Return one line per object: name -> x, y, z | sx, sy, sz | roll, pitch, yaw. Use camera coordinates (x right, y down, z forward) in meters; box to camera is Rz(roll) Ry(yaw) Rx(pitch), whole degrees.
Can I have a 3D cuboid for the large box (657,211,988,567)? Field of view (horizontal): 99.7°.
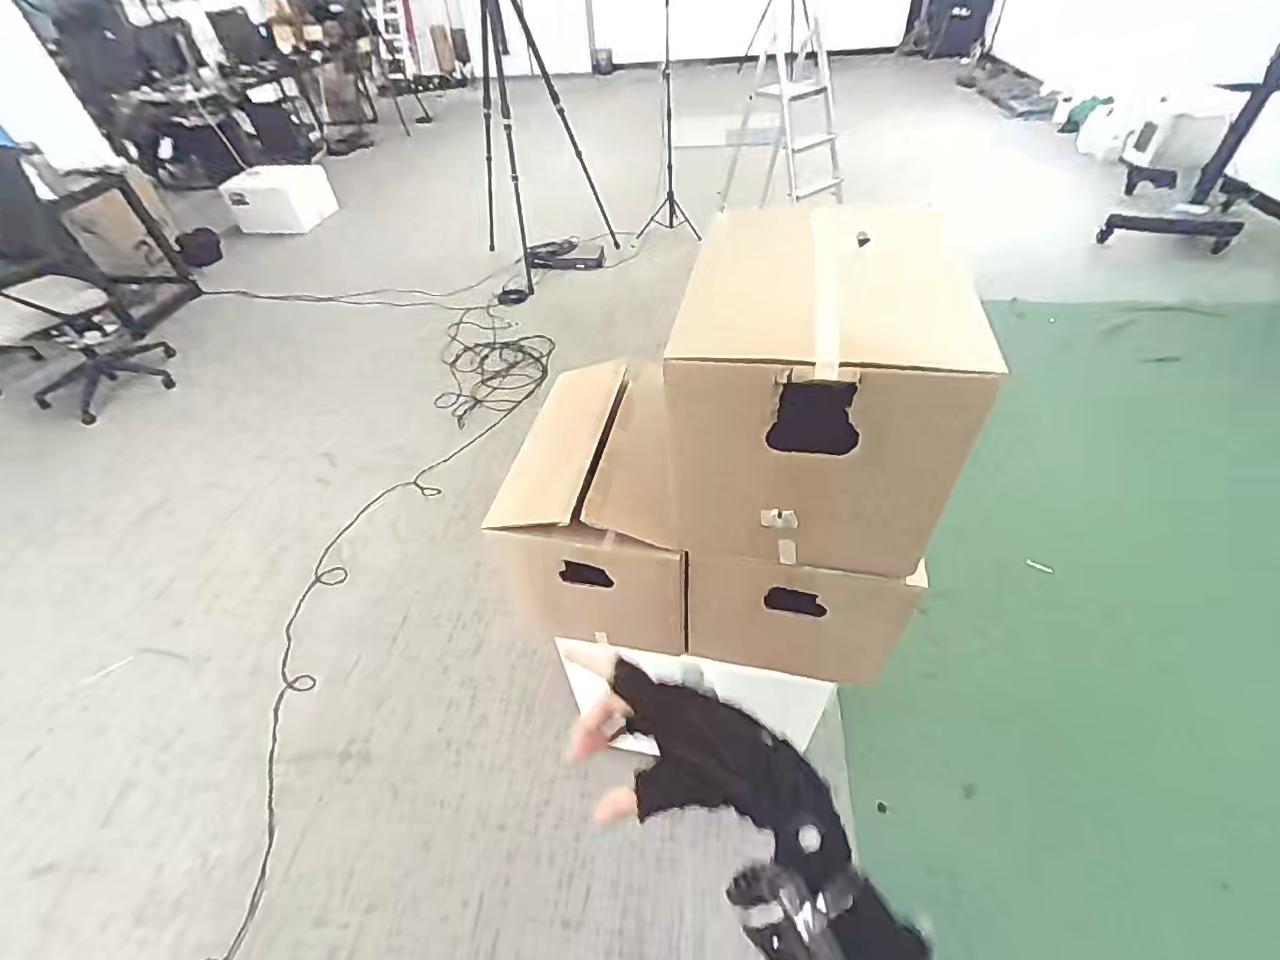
large box -> 0.219, -0.136, 0.750 | 0.320, 0.320, 0.408 | 5, 45, 13
